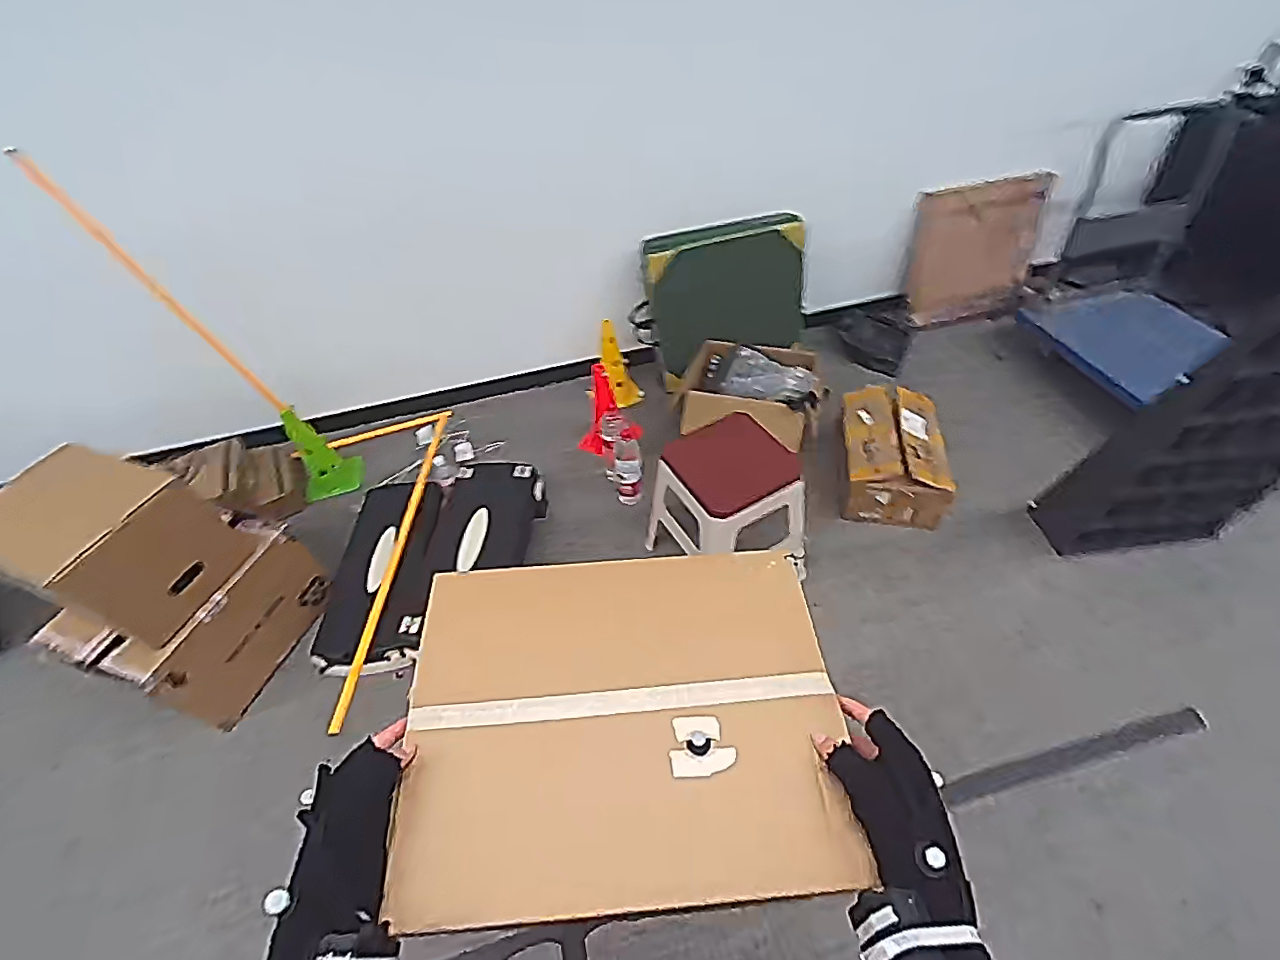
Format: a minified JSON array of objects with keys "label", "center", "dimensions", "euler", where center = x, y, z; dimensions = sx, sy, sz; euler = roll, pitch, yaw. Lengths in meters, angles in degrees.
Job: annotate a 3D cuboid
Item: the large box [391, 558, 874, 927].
[{"label":"large box","center":[-0.012,0.315,0.644],"dimensions":[0.408,0.320,0.320],"euler":[-3,50,-2]}]
